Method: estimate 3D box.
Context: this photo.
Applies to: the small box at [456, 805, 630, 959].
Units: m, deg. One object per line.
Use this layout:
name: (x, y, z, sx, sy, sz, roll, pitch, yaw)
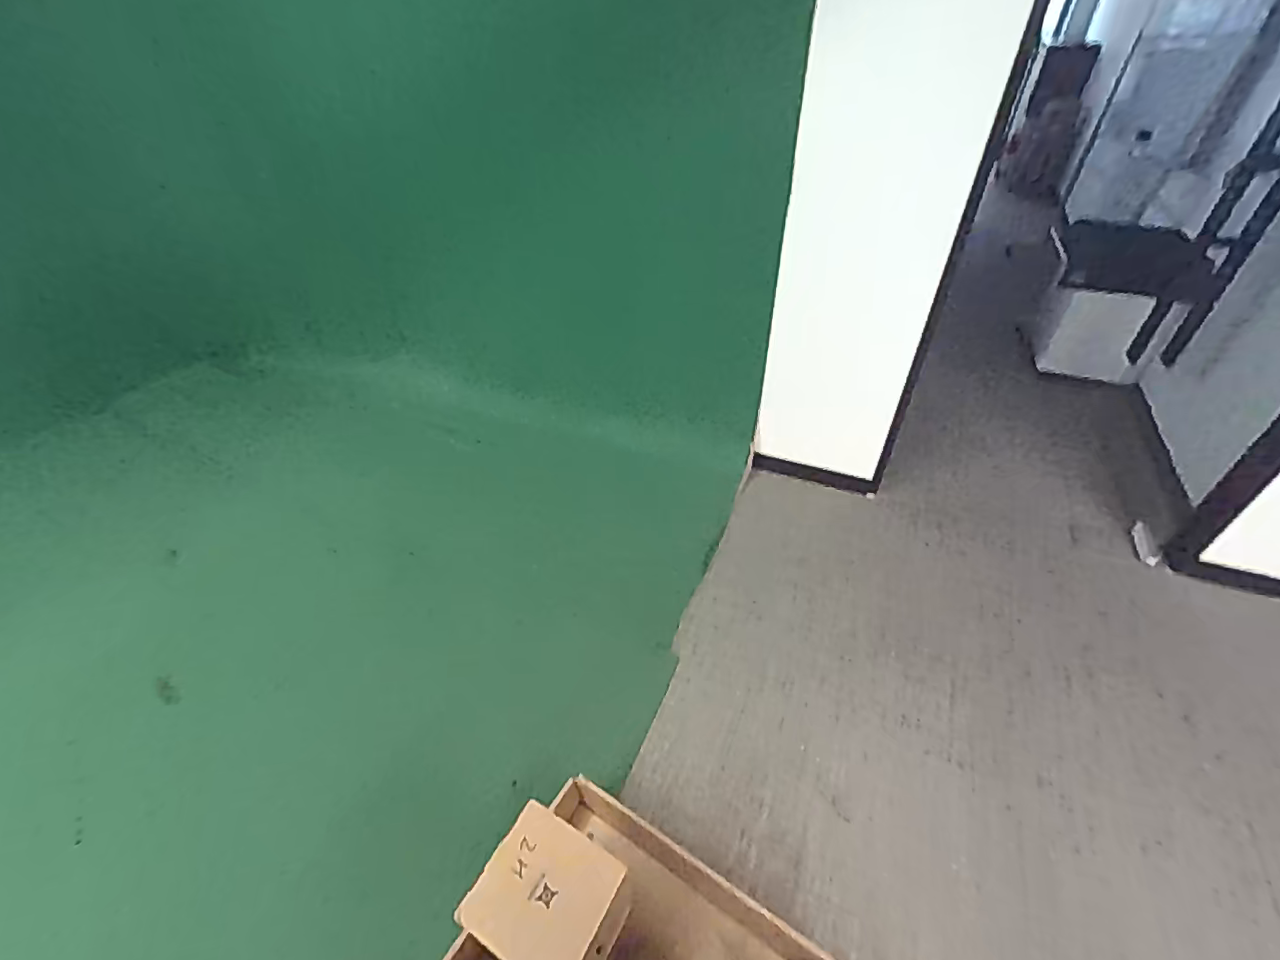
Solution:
small box: (-0.127, 0.619, 0.781, 0.179, 0.176, 0.168, 22, 47, 23)
